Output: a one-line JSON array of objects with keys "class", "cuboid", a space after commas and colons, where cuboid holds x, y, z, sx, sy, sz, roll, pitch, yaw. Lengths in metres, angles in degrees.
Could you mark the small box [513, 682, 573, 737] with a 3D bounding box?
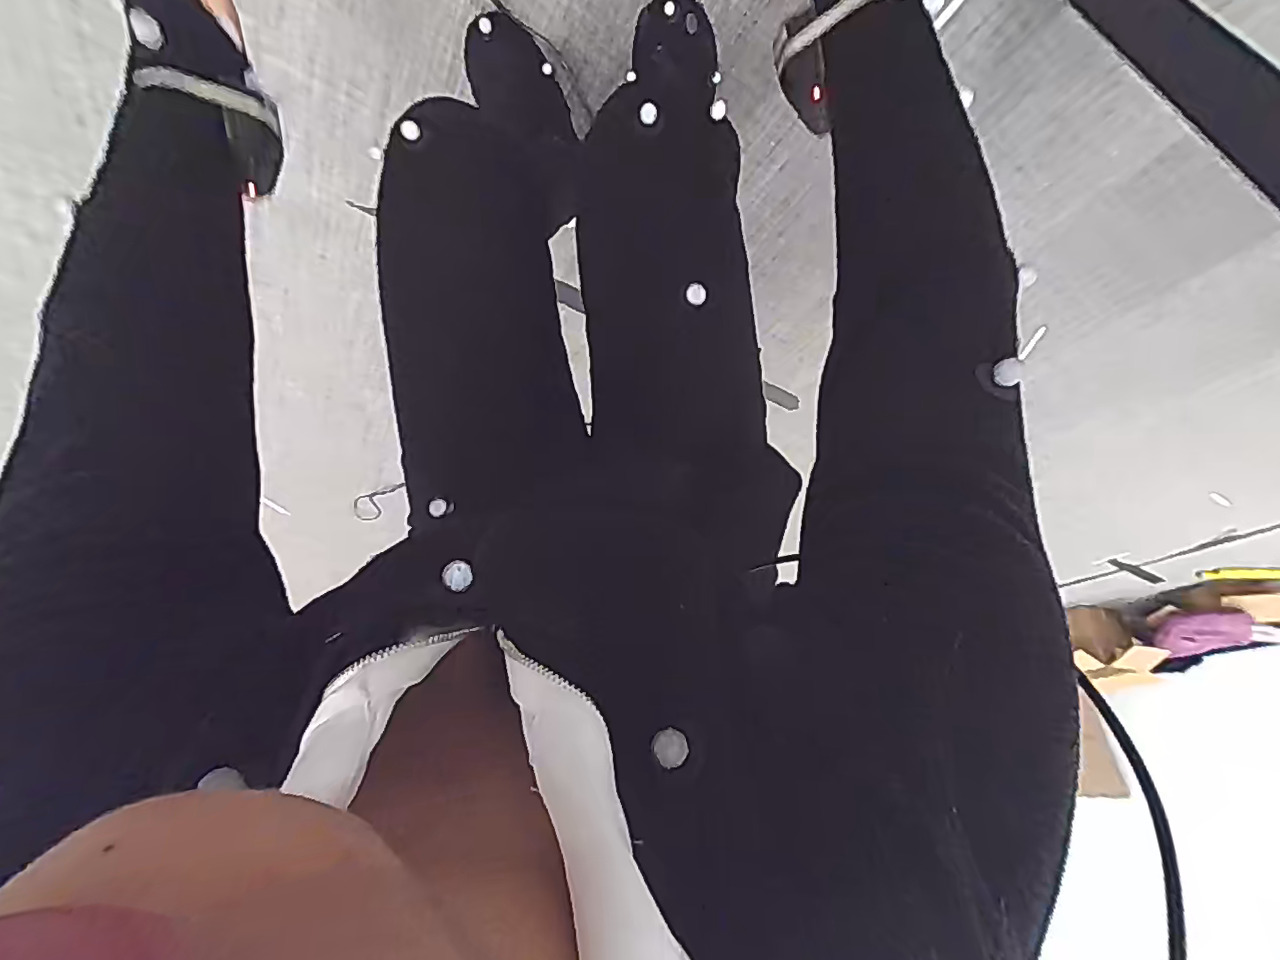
[{"class": "small box", "cuboid": [-0.359, 0.859, 2.012, 0.179, 0.176, 0.168, 13, 142, -20]}]
